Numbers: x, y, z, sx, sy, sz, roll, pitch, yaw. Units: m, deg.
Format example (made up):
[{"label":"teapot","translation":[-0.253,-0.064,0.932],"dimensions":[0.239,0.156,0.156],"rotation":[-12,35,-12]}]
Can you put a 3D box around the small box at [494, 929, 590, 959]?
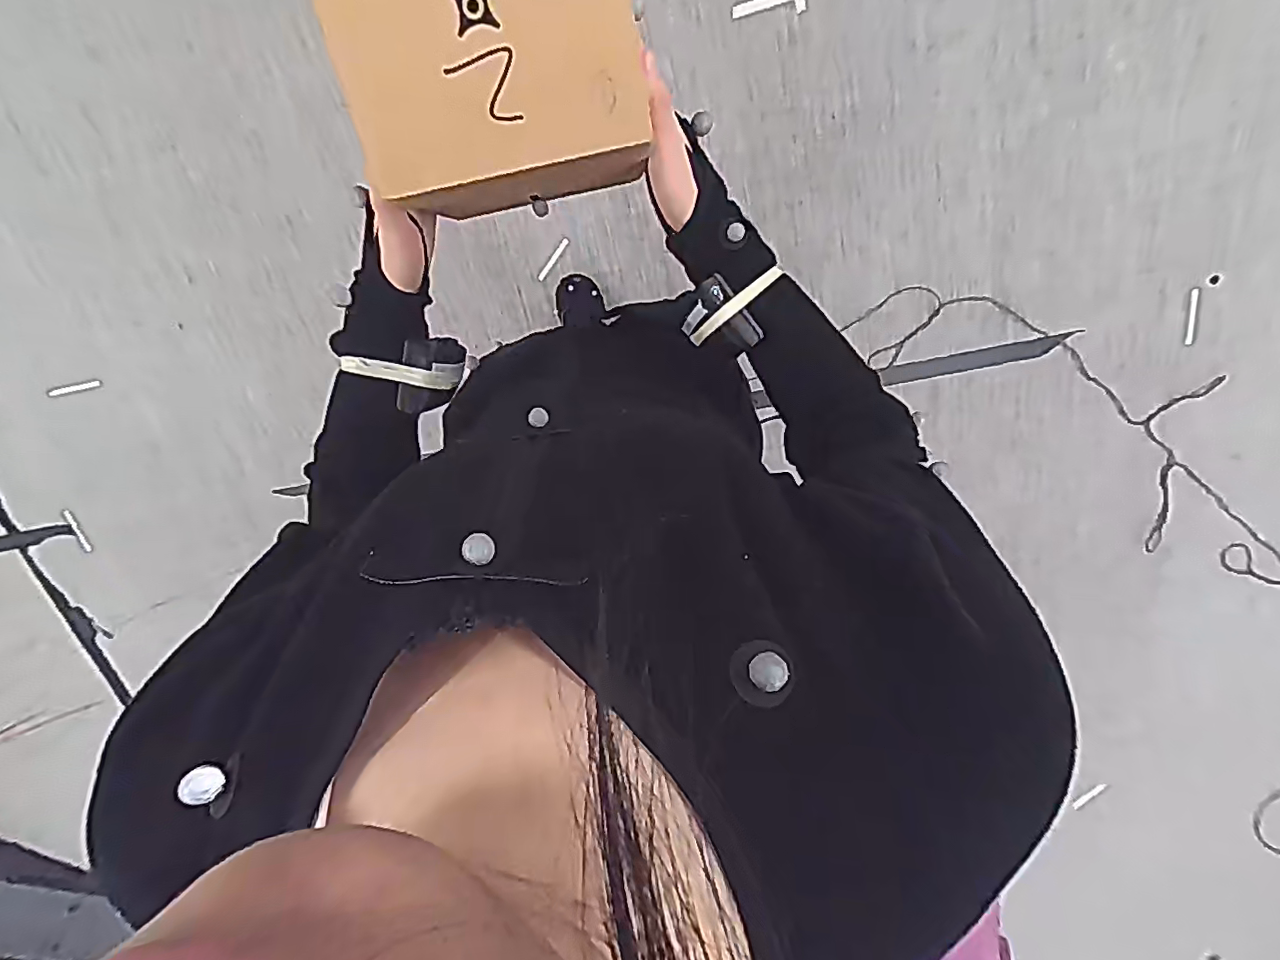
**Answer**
[{"label":"small box","translation":[-0.191,0.996,1.020],"dimensions":[0.179,0.176,0.168],"rotation":[-10,110,3]}]

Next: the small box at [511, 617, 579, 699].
[{"label":"small box","translation":[-0.283,0.531,1.632],"dimensions":[0.179,0.176,0.168],"rotation":[4,109,-2]}]
